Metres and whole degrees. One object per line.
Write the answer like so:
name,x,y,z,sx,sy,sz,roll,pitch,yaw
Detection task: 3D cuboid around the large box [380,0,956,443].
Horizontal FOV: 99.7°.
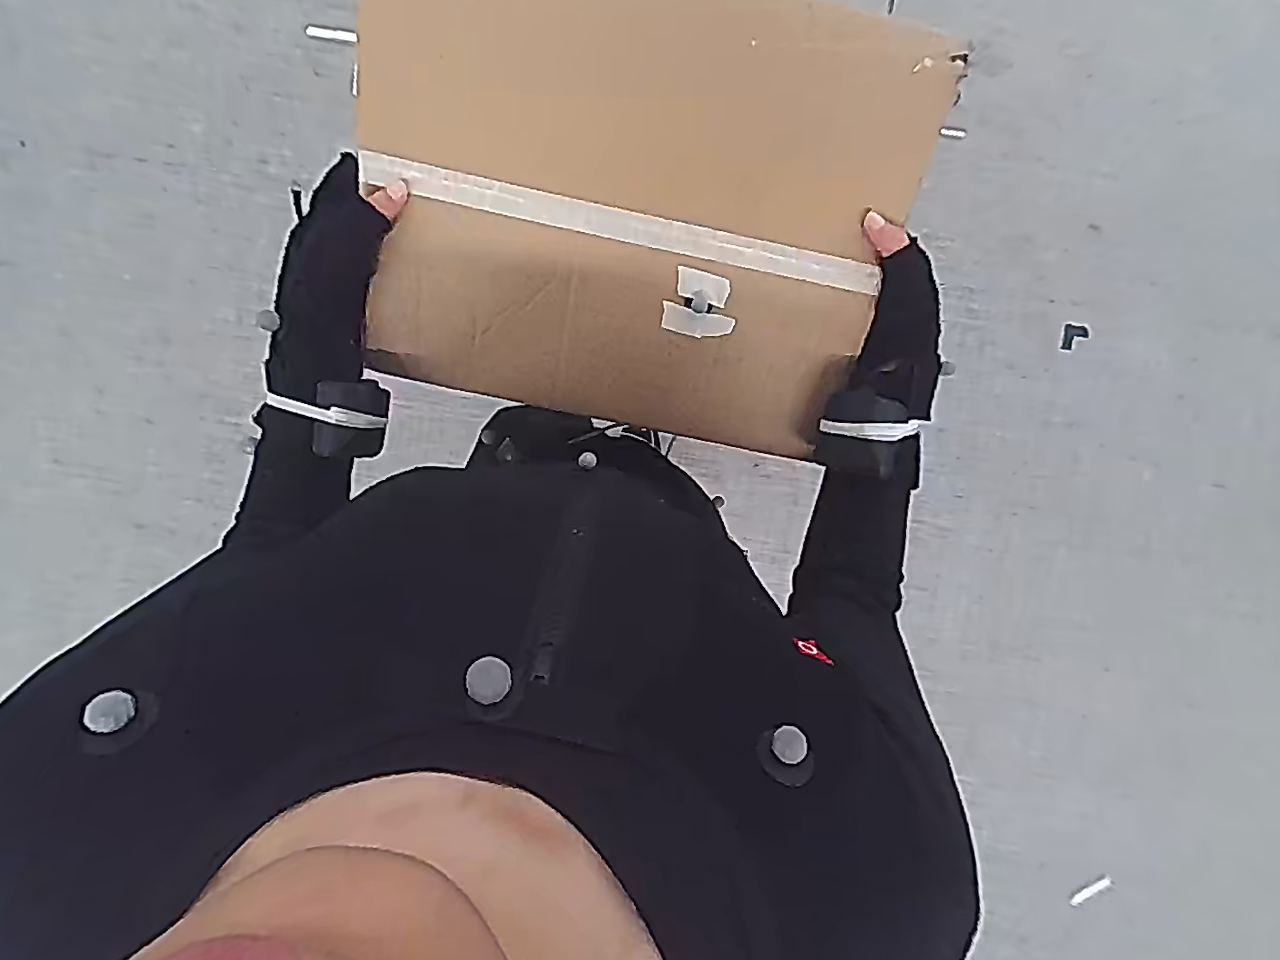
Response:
large box,-0.001,-0.264,0.558,0.408,0.320,0.320,11,116,-4
